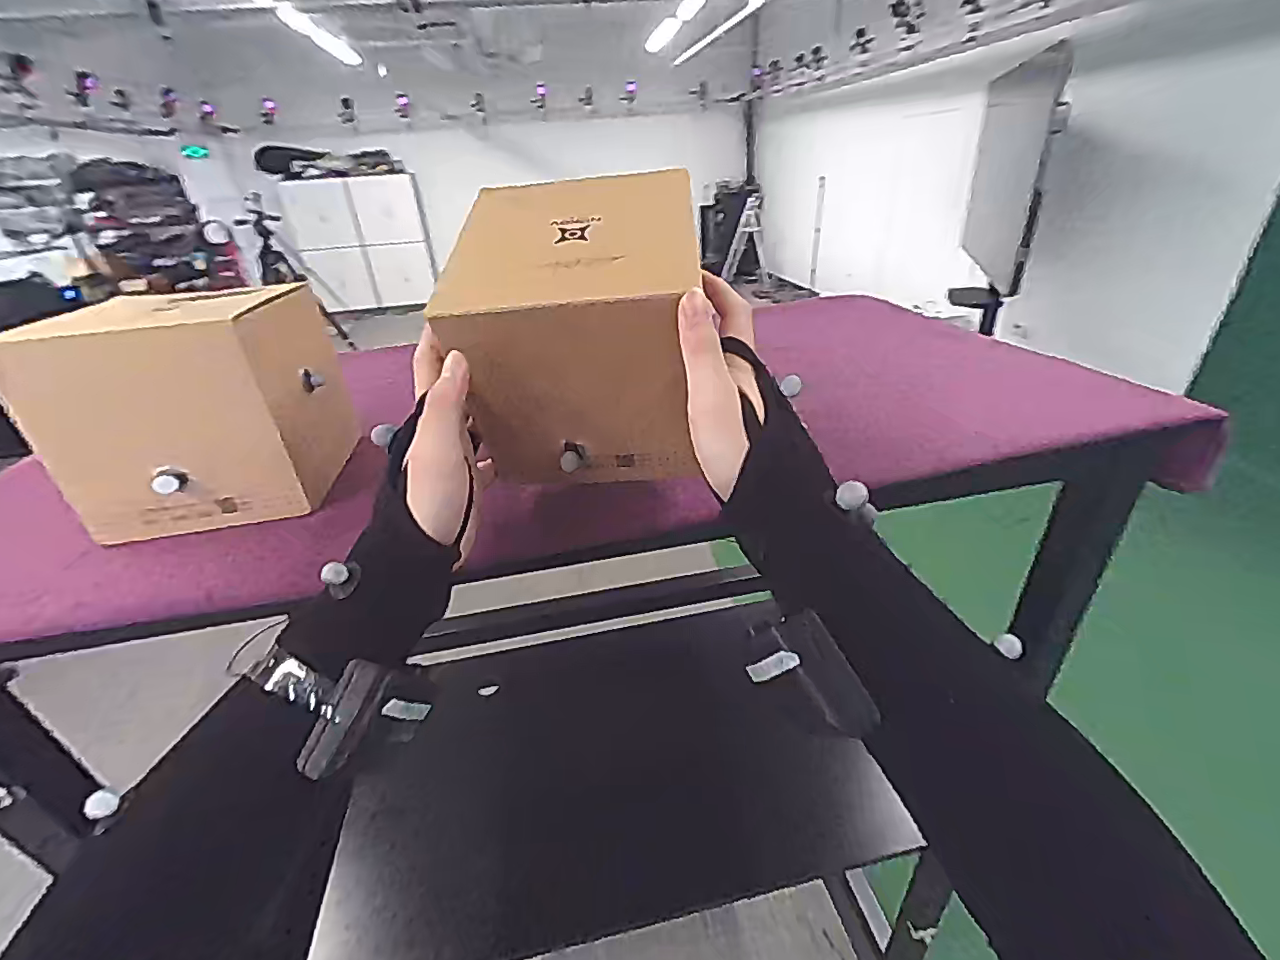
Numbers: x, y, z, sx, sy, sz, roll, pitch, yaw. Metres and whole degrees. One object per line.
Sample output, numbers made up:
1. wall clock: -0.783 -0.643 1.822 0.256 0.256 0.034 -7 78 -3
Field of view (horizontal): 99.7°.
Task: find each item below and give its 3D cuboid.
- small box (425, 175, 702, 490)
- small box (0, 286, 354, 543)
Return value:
1. small box: -0.037 -0.111 0.426 0.168 0.176 0.179 -3 52 5
2. small box: -0.380 -0.067 0.485 0.168 0.176 0.179 -9 30 -9
